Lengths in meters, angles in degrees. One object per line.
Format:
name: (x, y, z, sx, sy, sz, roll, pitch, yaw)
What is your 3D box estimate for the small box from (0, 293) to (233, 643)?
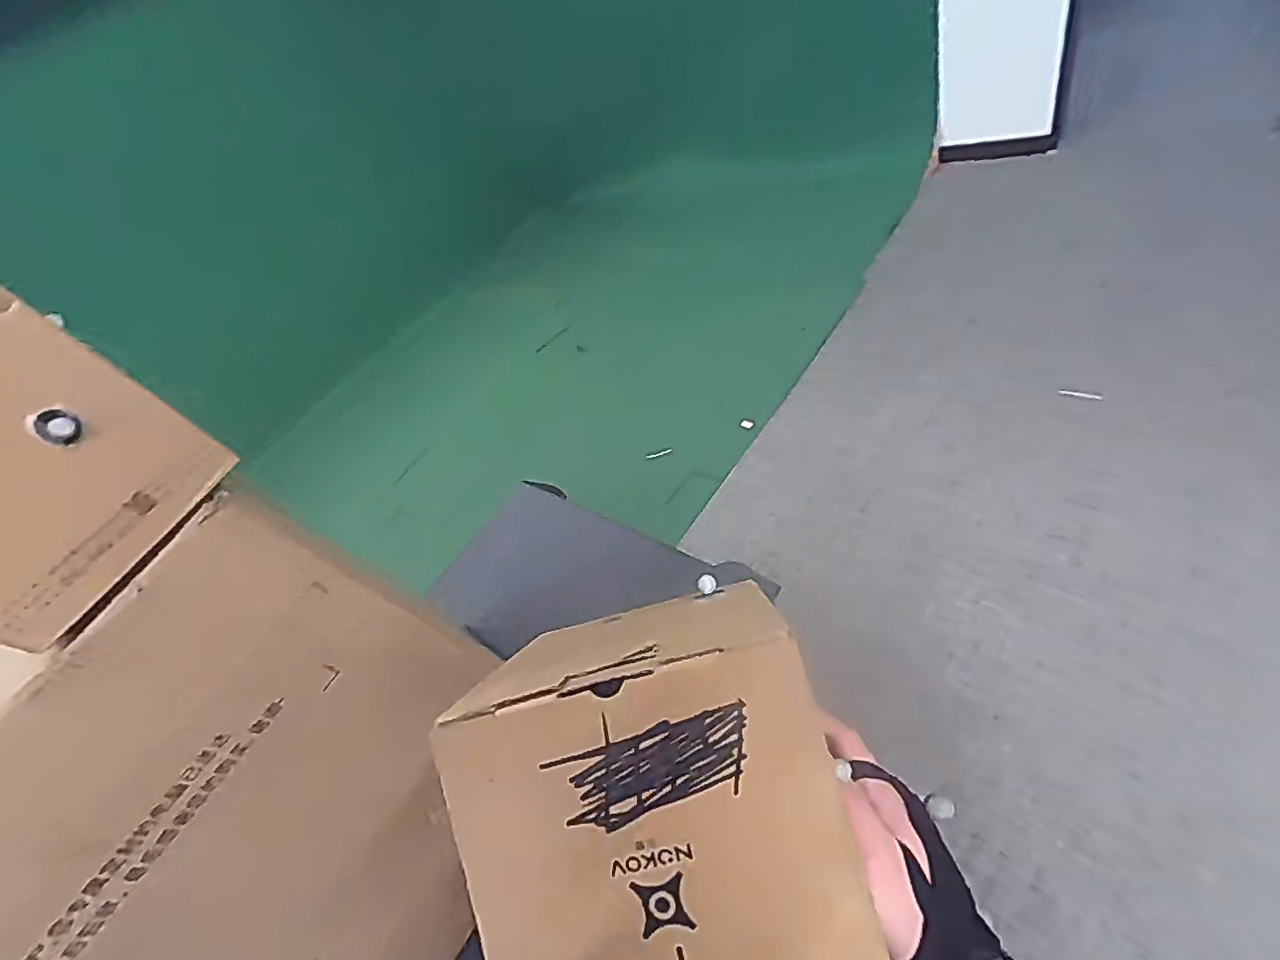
small box: (-0.438, -0.010, 0.374, 0.179, 0.176, 0.168, 10, 56, 35)
